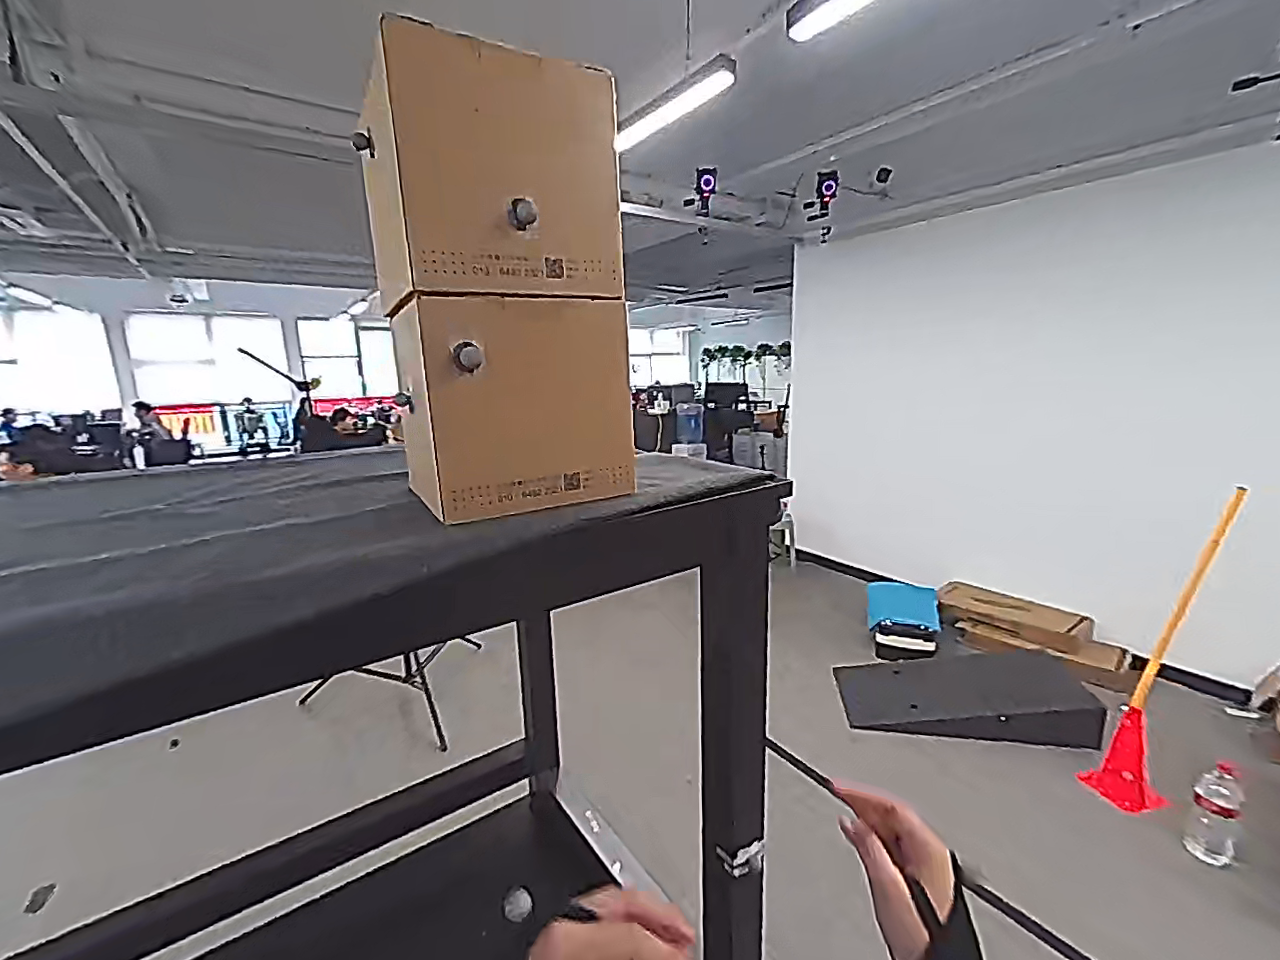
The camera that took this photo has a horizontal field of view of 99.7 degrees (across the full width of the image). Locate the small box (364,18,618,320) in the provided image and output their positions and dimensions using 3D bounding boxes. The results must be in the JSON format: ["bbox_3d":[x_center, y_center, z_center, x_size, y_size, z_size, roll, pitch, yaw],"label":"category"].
[{"bbox_3d":[-0.131,-0.232,0.465,0.168,0.176,0.179,-10,14,-30],"label":"small box"}]
